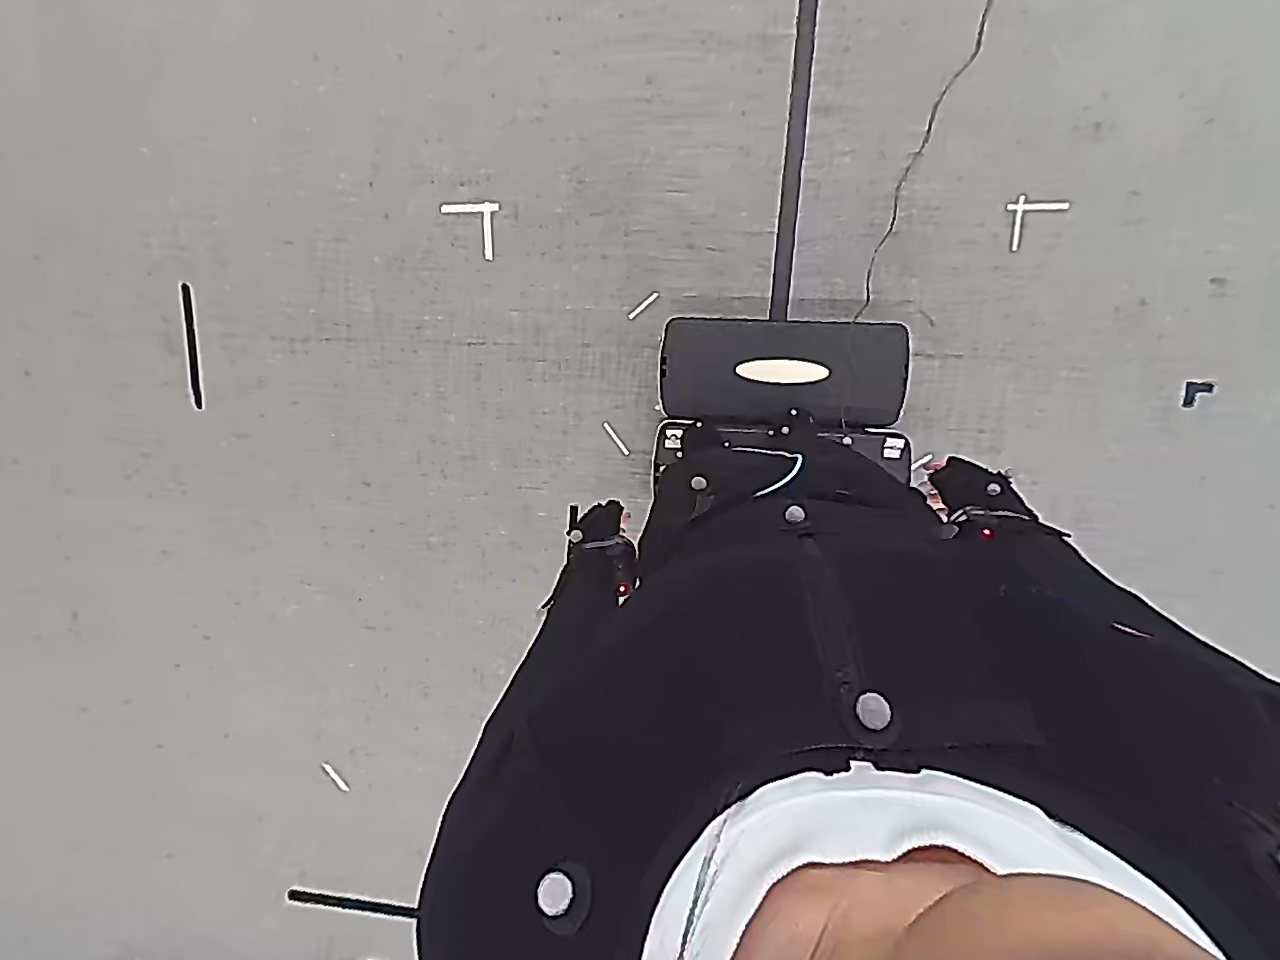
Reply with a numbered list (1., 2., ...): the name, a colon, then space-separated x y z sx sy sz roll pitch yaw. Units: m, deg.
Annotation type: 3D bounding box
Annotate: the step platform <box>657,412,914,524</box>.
1. step platform: 0.387 -0.040 1.513 0.684 0.204 0.286 2 98 7
